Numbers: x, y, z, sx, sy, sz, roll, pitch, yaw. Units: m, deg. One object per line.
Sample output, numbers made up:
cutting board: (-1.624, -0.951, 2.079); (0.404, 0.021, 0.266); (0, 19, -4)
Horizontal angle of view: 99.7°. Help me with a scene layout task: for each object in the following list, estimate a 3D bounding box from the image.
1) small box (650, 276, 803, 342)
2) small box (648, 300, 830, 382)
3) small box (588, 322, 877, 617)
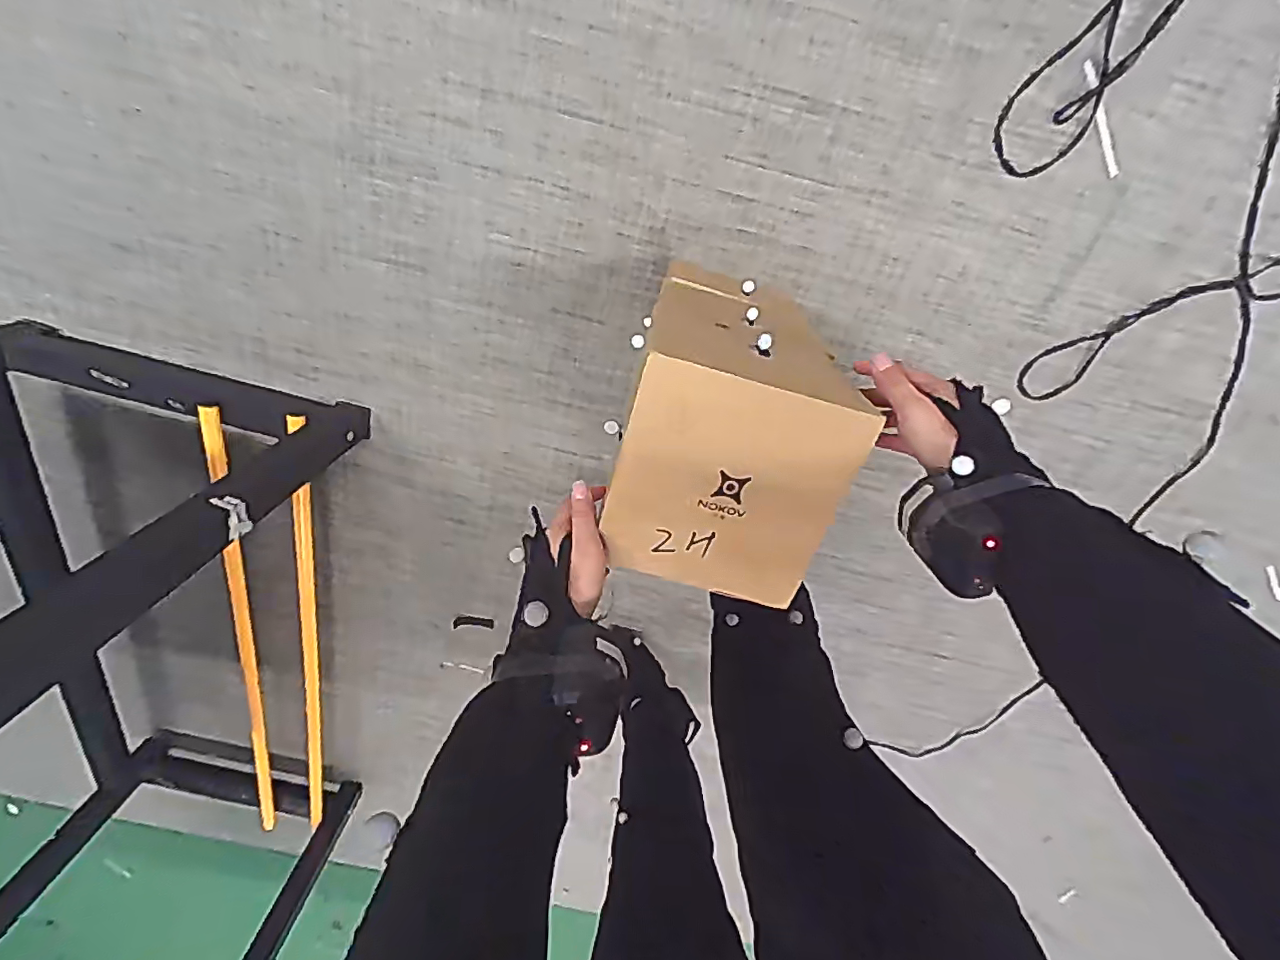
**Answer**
small box: (0.096, -0.170, 0.749); (0.179, 0.176, 0.168); (16, 117, -5)
small box: (0.082, -0.093, 0.607); (0.179, 0.176, 0.168); (14, 117, -2)
small box: (0.063, -0.019, 0.461); (0.168, 0.176, 0.179); (15, 117, -4)
